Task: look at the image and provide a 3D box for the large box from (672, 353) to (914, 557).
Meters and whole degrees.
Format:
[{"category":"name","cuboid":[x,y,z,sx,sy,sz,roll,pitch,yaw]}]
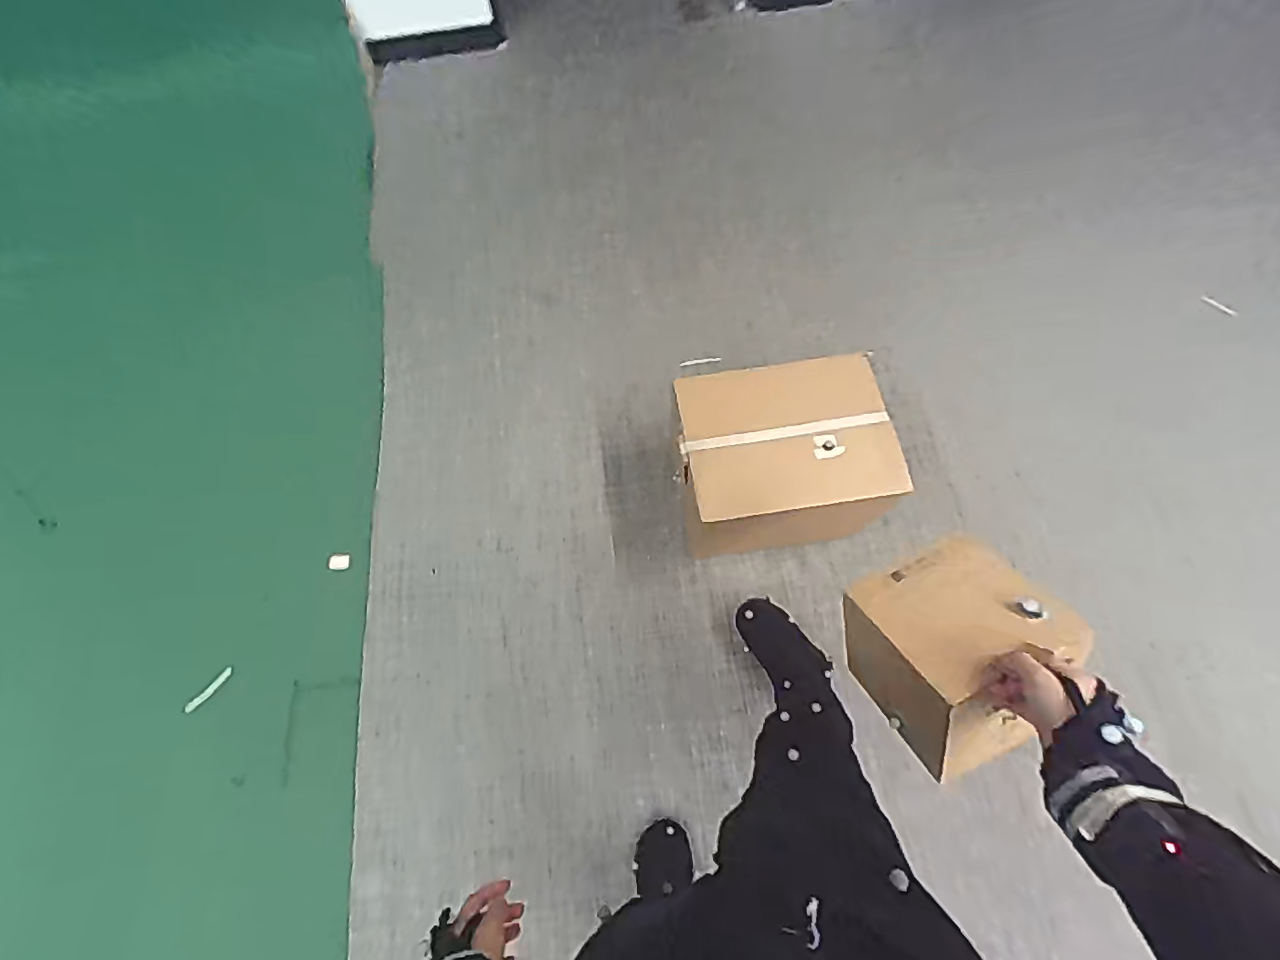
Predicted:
[{"category":"large box","cuboid":[0.296,-0.039,1.188,0.408,0.320,0.320,-8,70,-2]}]
